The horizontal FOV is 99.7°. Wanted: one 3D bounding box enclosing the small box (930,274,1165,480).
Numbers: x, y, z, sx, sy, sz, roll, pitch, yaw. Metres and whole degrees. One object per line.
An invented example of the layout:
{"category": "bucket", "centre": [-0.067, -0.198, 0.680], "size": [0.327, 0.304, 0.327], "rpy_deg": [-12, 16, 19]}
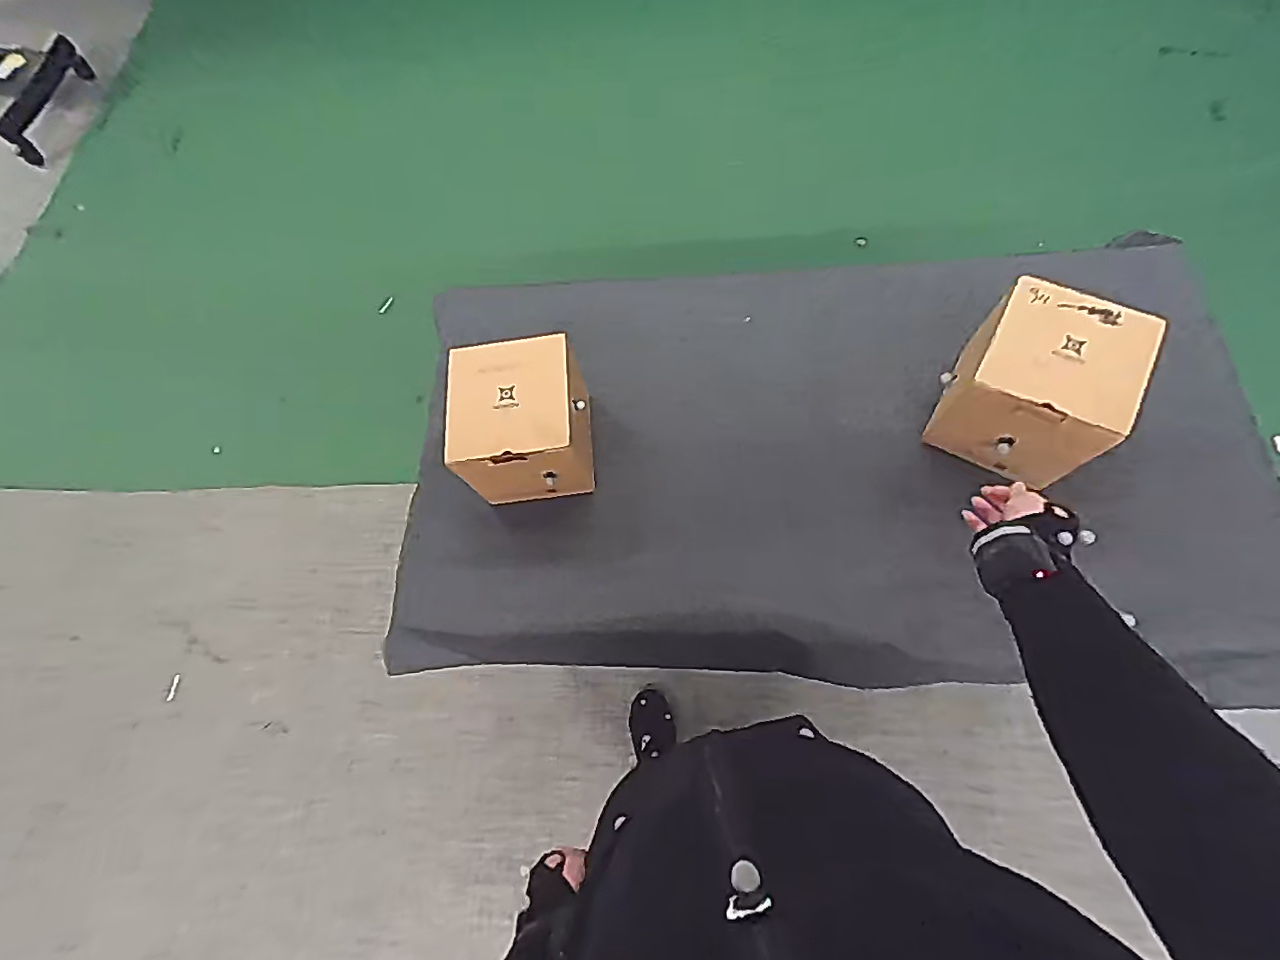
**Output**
{"category": "small box", "centre": [0.514, -0.125, 0.712], "size": [0.168, 0.176, 0.179], "rpy_deg": [28, 76, 15]}

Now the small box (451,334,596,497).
{"category": "small box", "centre": [-0.161, -0.083, 0.791], "size": [0.168, 0.176, 0.179], "rpy_deg": [-7, 68, 3]}
